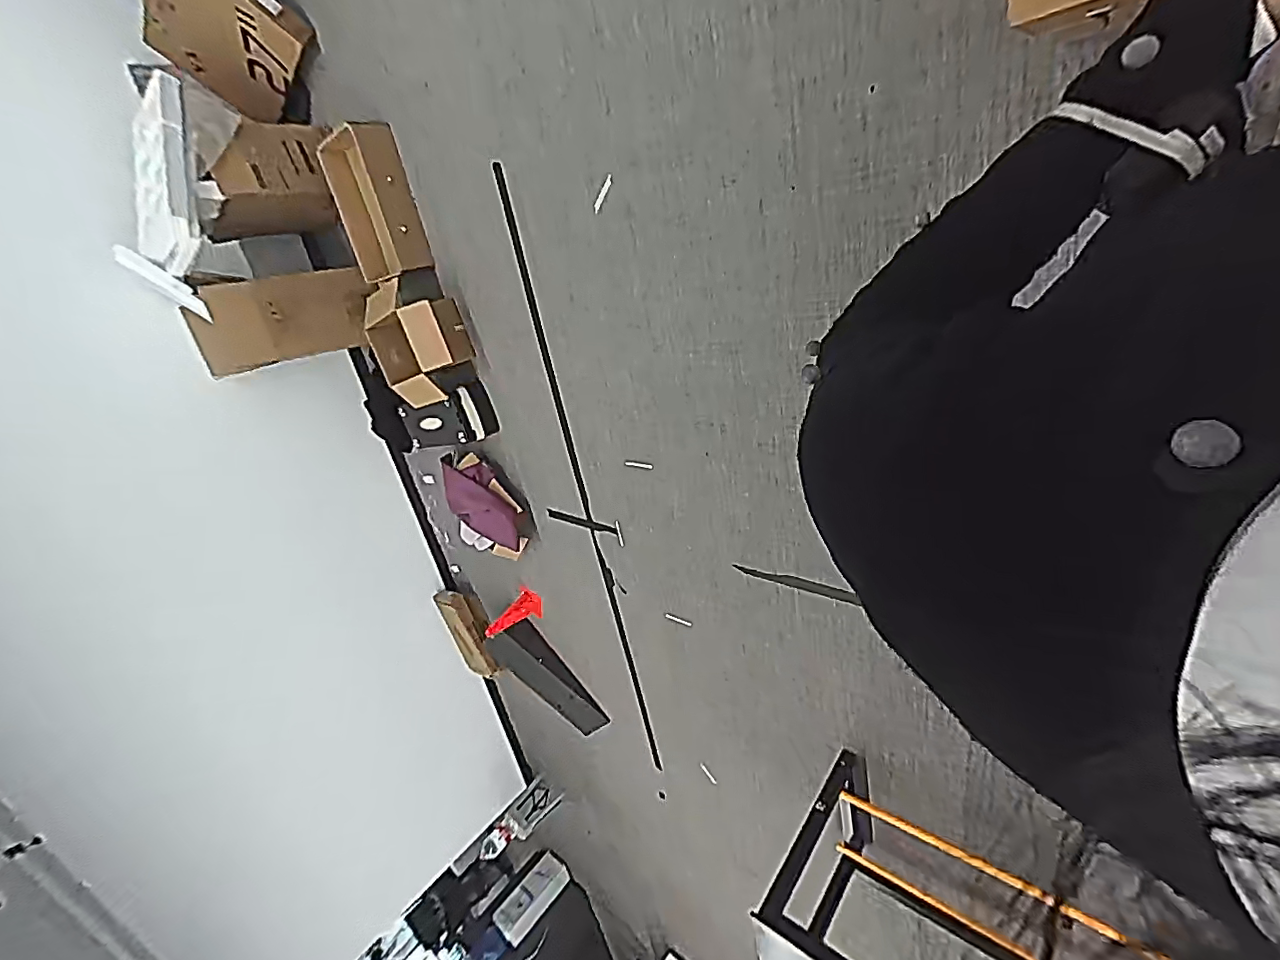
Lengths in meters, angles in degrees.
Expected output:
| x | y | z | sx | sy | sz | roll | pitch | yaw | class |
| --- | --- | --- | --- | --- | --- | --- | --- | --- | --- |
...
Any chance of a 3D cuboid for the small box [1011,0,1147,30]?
| x | y | z | sx | sy | sz | roll | pitch | yaw | class |
| --- | --- | --- | --- | --- | --- | --- | --- | --- | --- |
| 0.499 | -0.596 | 0.550 | 0.168 | 0.176 | 0.179 | 12 | 127 | 42 | small box |
